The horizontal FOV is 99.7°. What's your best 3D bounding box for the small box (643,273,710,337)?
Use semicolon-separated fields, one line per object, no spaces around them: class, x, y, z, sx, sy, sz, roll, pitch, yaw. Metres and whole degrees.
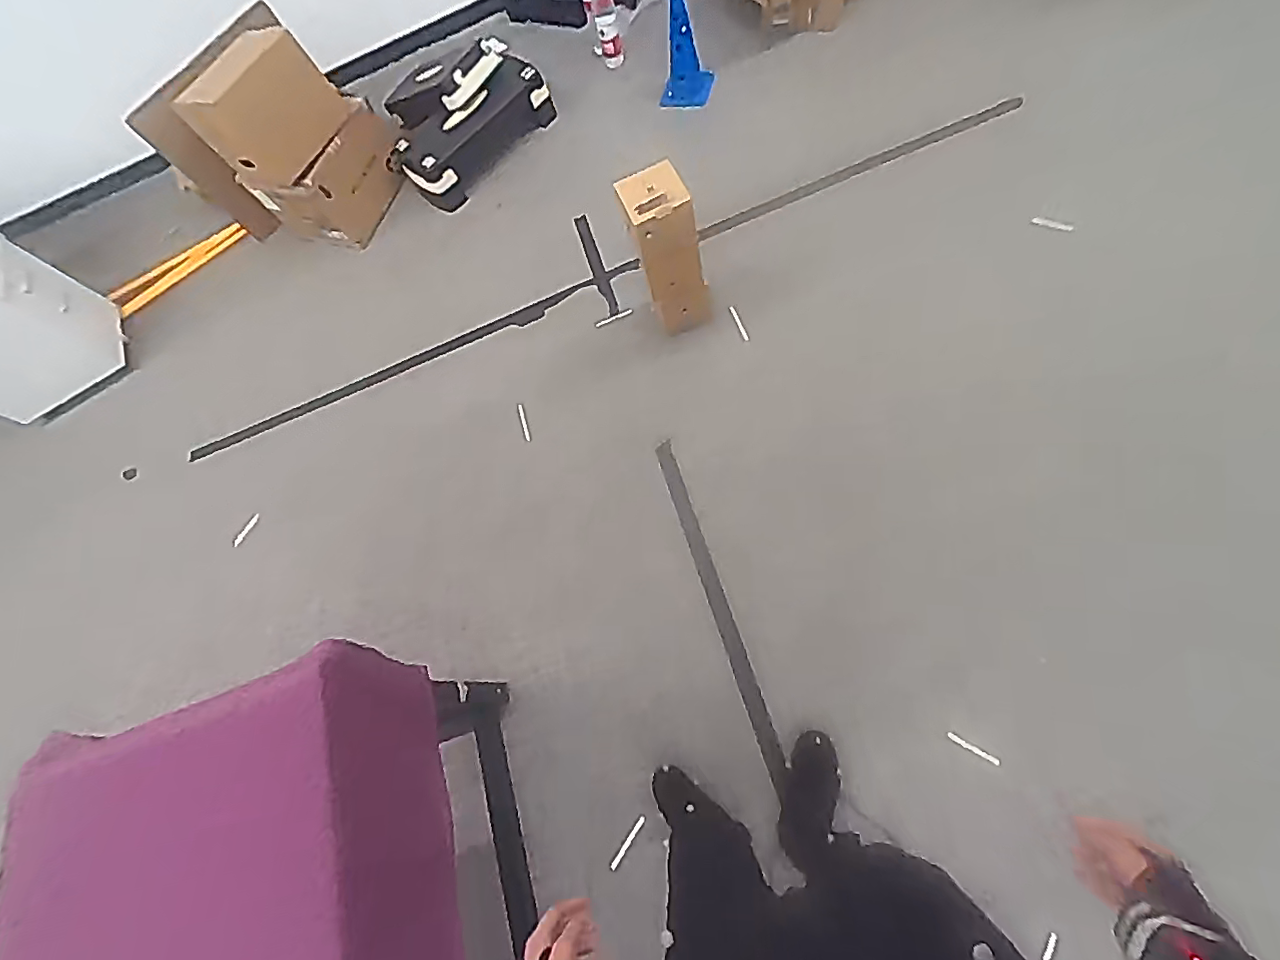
small box;0.128;-0.613;1.807;0.179;0.176;0.168;-22;66;4

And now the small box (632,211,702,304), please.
small box;0.086;-0.679;1.664;0.168;0.176;0.179;-18;67;5
